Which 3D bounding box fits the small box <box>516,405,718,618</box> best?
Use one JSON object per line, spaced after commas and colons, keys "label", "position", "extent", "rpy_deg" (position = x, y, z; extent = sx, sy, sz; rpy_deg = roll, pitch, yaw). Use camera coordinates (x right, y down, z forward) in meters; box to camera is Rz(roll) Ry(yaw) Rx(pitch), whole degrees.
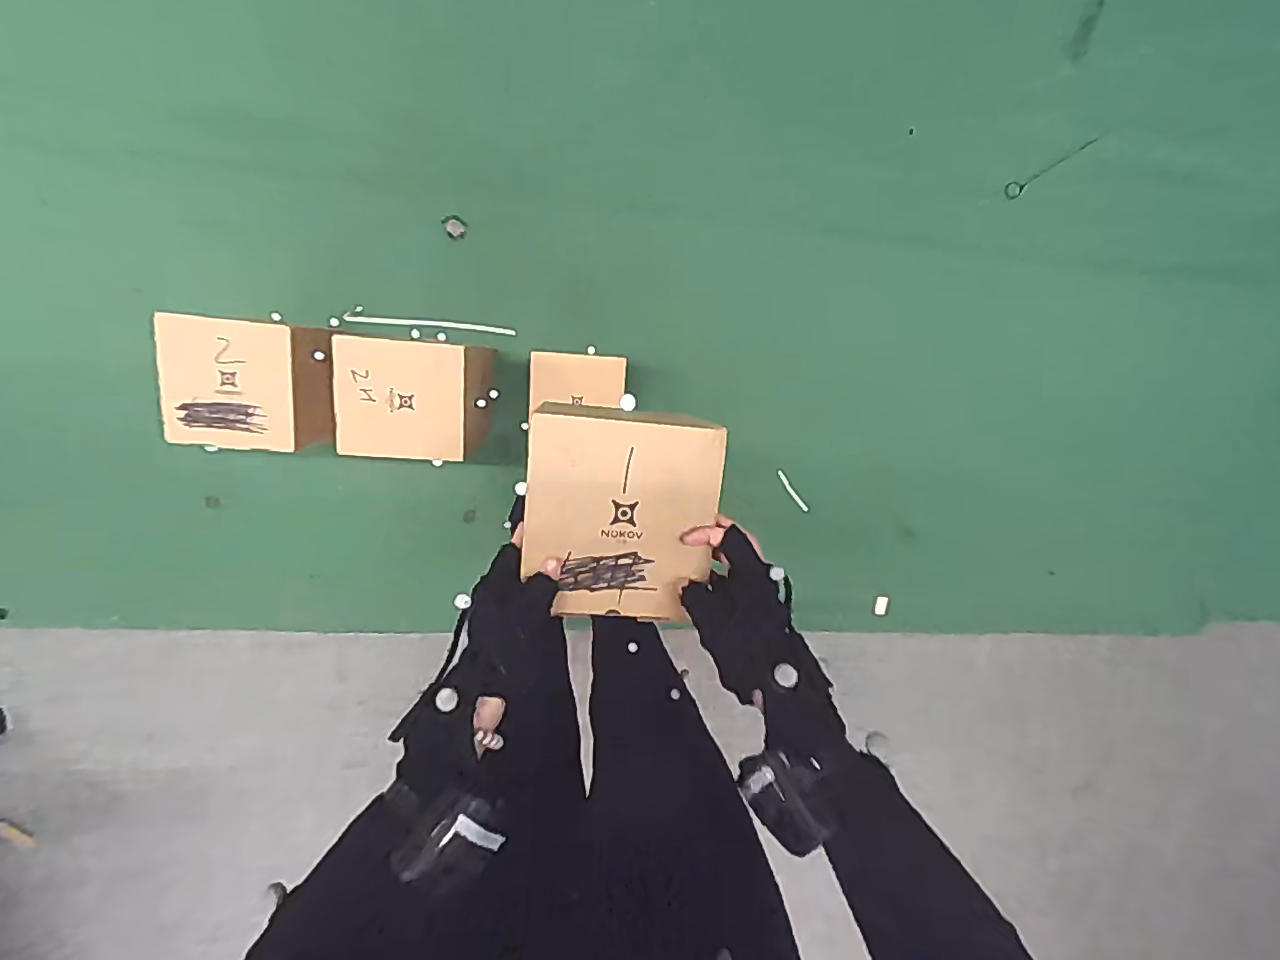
{"label": "small box", "position": [-0.030, 0.022, 0.554], "extent": [0.168, 0.176, 0.179], "rpy_deg": [5, 100, -9]}

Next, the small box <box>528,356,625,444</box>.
{"label": "small box", "position": [-0.123, -0.142, 1.028], "extent": [0.168, 0.176, 0.179], "rpy_deg": [2, 104, -7]}

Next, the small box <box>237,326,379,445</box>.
{"label": "small box", "position": [-0.584, -0.172, 0.969], "extent": [0.168, 0.176, 0.179], "rpy_deg": [7, 103, -8]}
